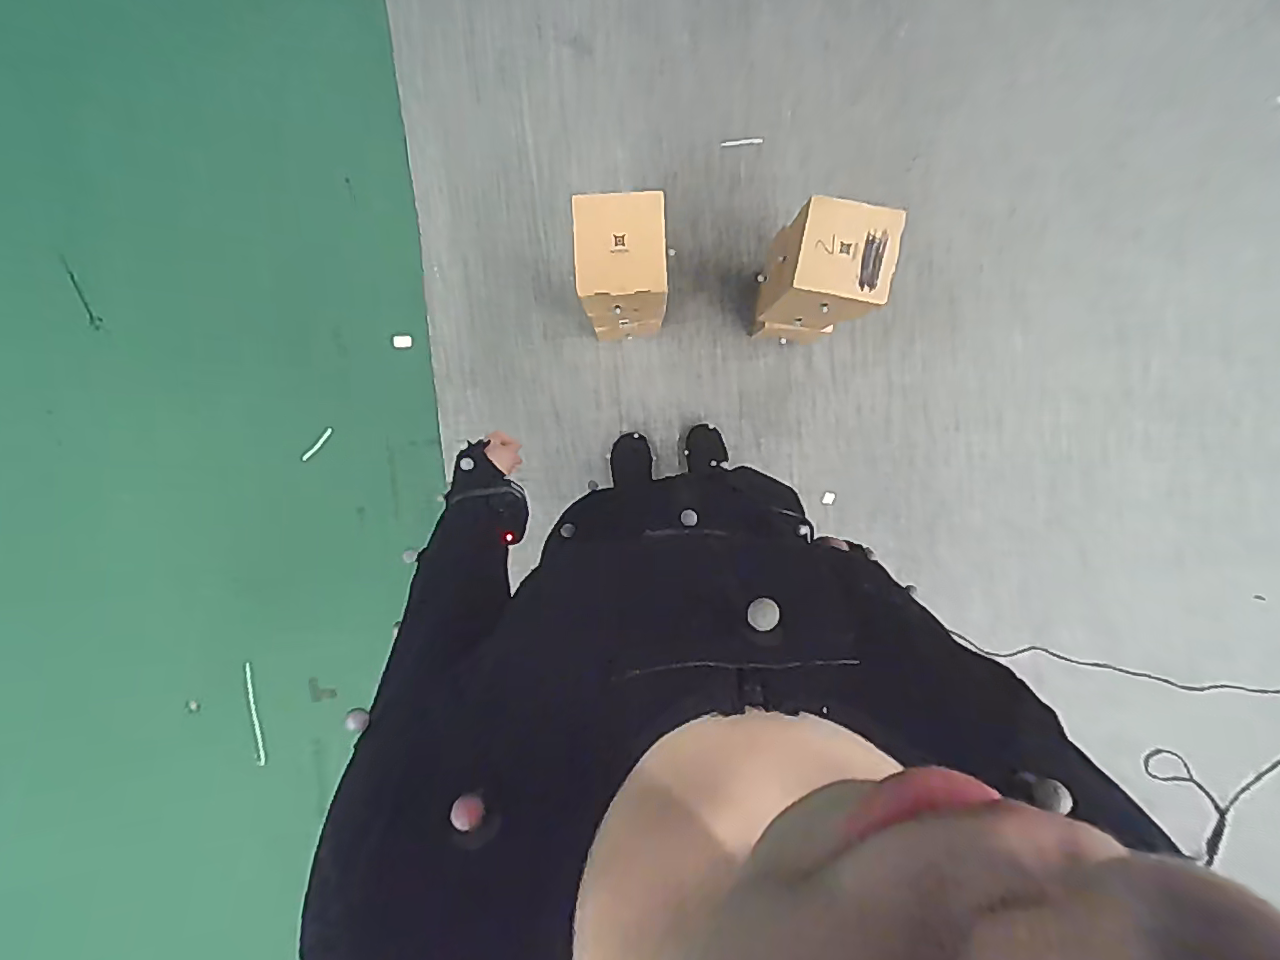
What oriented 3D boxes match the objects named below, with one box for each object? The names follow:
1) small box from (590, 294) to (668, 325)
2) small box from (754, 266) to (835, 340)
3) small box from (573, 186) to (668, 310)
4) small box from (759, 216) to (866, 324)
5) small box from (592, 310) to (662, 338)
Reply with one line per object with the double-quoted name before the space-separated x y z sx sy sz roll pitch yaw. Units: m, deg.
"small box" -0.035 -0.455 1.193 0.168 0.176 0.179 -9 96 2
"small box" 0.388 -0.458 1.356 0.168 0.176 0.179 4 97 0
"small box" -0.035 -0.433 1.032 0.168 0.176 0.179 -3 96 0
"small box" 0.369 -0.452 1.192 0.168 0.176 0.179 9 97 -2
"small box" -0.040 -0.467 1.355 0.168 0.176 0.179 -9 96 1
